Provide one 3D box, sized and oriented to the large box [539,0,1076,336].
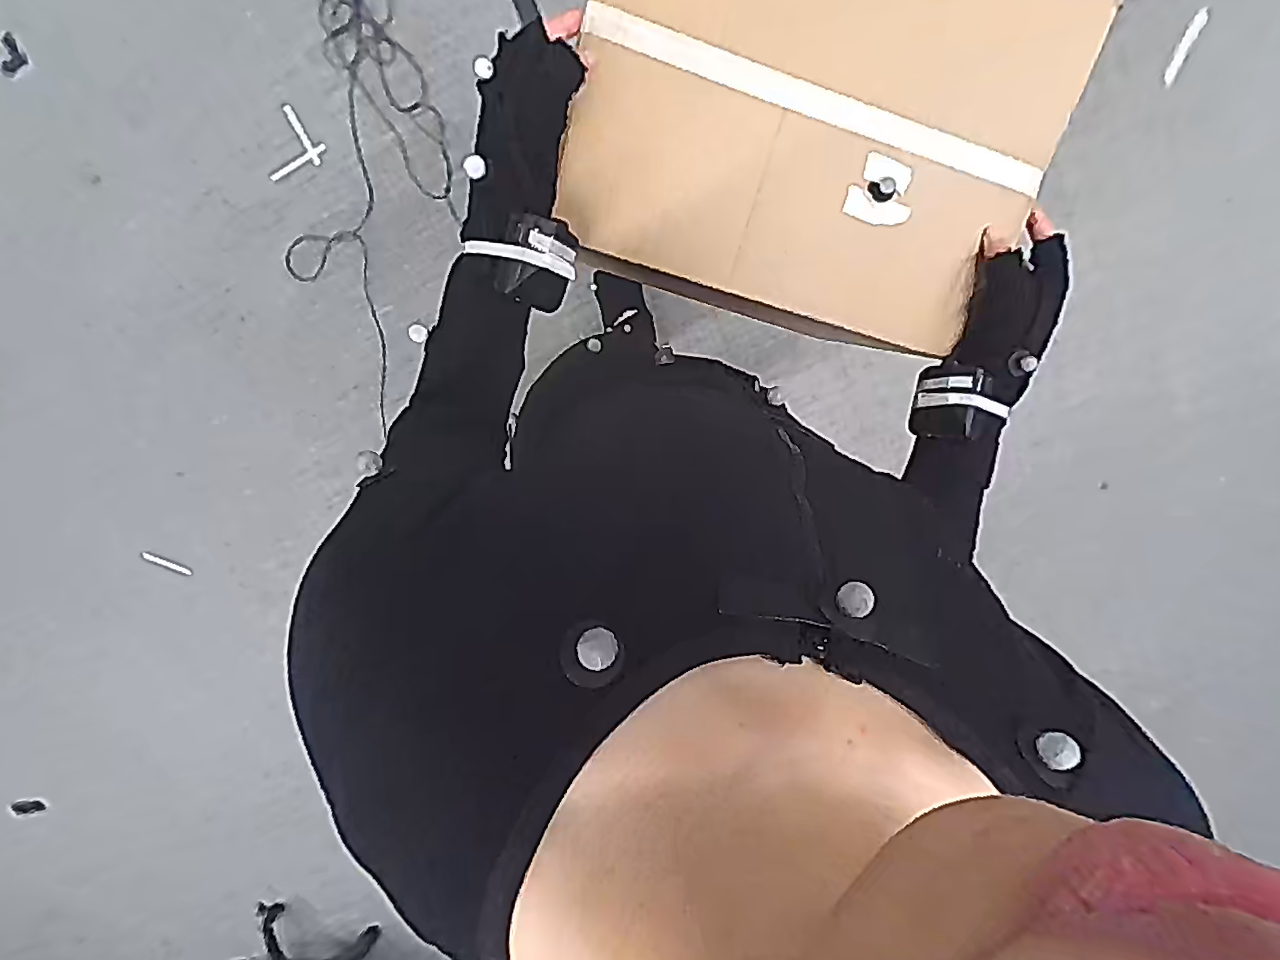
[{"bbox_3d":[0.125,-0.363,0.593,0.408,0.320,0.320,13,107,-9],"label":"large box"}]
